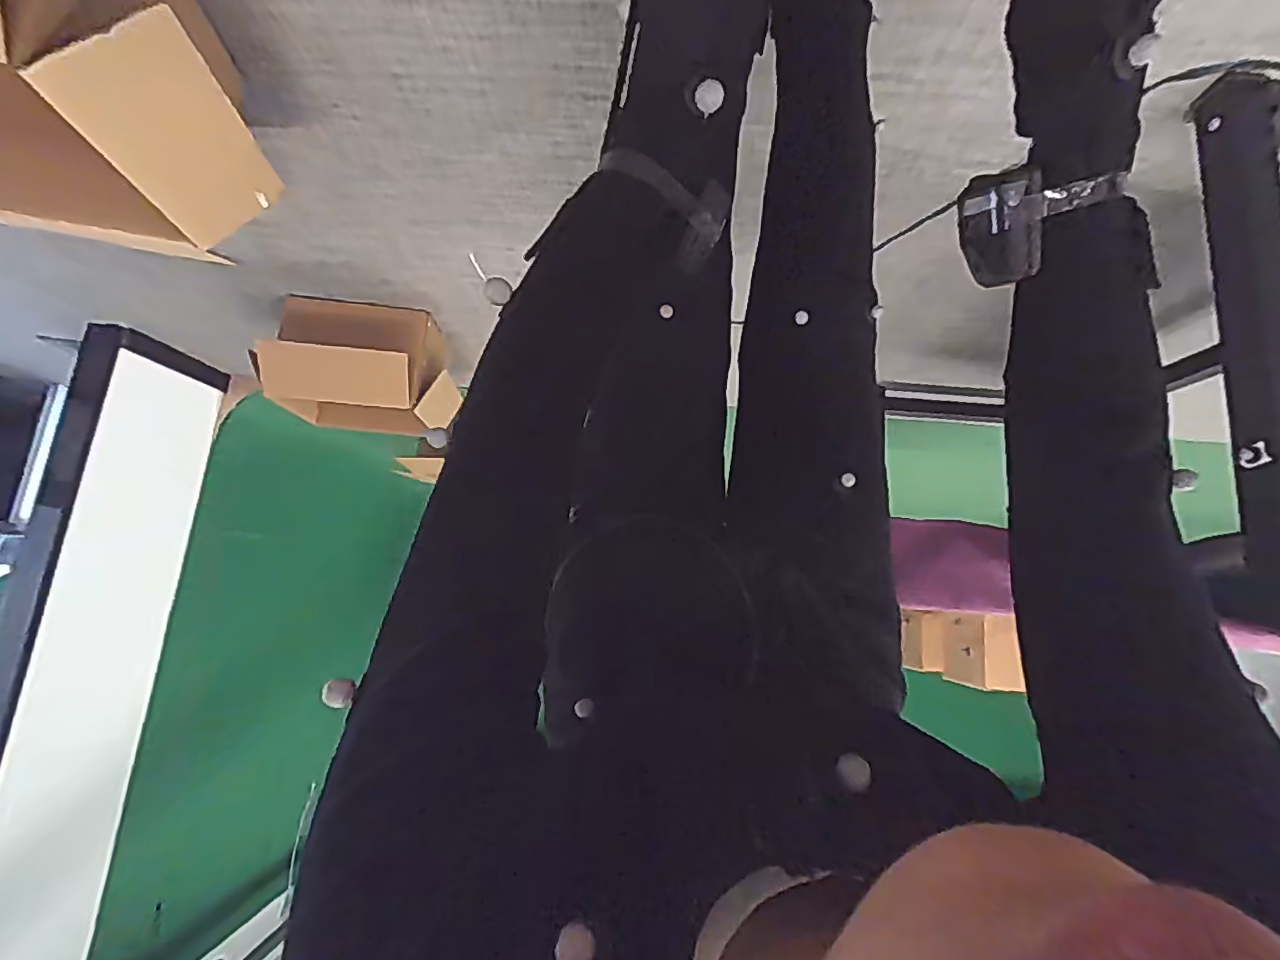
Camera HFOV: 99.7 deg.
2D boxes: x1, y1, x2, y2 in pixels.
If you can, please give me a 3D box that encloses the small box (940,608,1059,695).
[{"bbox_3d":[0.840,0.398,1.277,0.179,0.176,0.168,6,169,-2],"label":"small box"}]
